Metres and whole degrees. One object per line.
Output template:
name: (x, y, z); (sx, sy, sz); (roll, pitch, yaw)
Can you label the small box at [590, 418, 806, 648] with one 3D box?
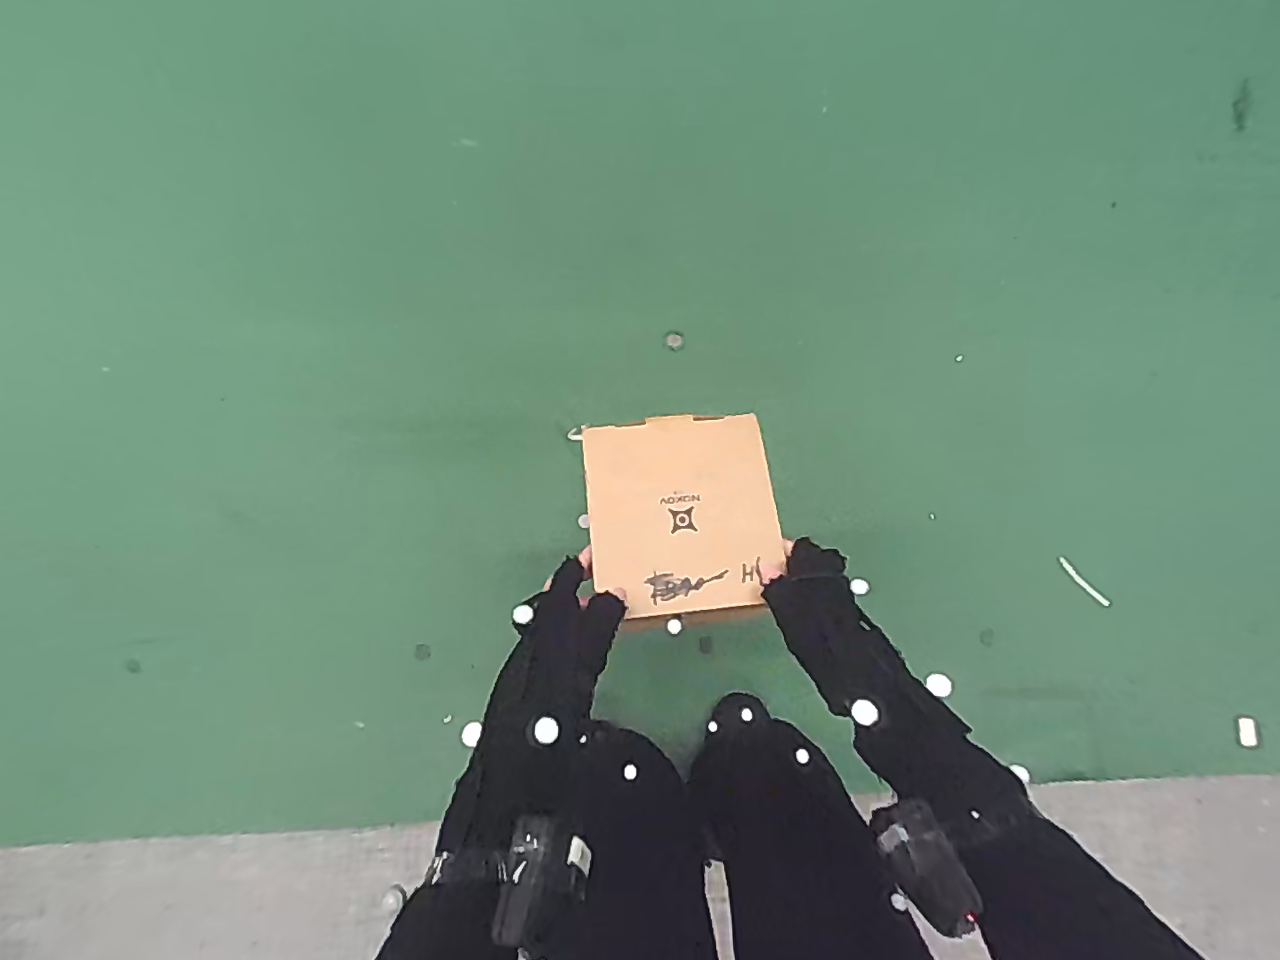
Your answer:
small box: (0.041, 0.060, 0.532); (0.168, 0.176, 0.179); (-6, 69, -3)
